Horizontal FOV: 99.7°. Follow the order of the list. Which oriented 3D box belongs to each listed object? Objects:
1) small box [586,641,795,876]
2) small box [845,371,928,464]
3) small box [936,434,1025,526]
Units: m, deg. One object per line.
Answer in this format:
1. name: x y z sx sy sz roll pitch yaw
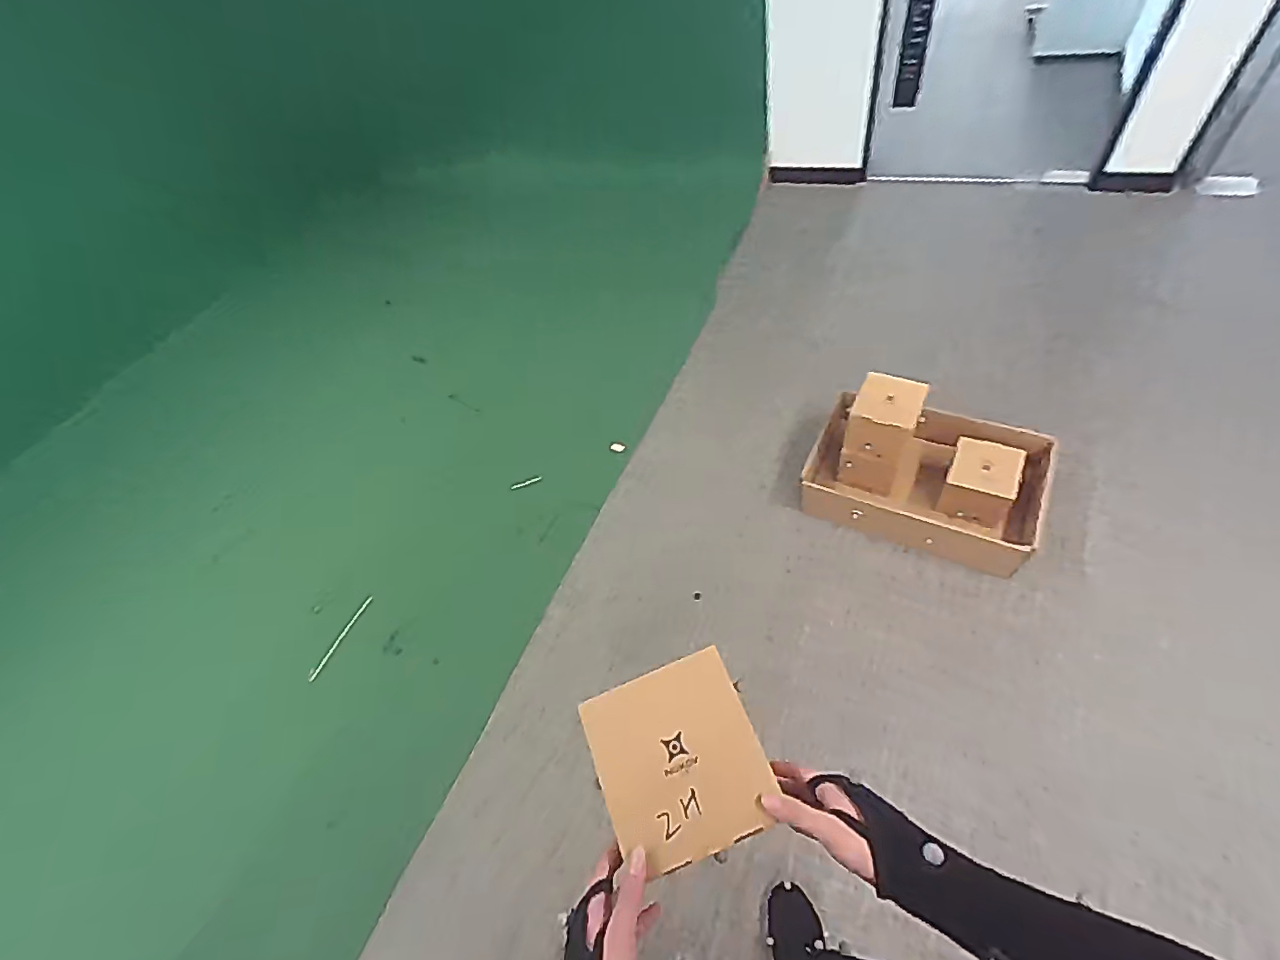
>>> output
1. small box: 0.055 0.311 0.613 0.168 0.176 0.179 -22 59 -2
2. small box: 0.699 -0.178 1.550 0.168 0.176 0.179 20 63 25
3. small box: 0.974 0.002 1.557 0.168 0.176 0.179 19 63 26
